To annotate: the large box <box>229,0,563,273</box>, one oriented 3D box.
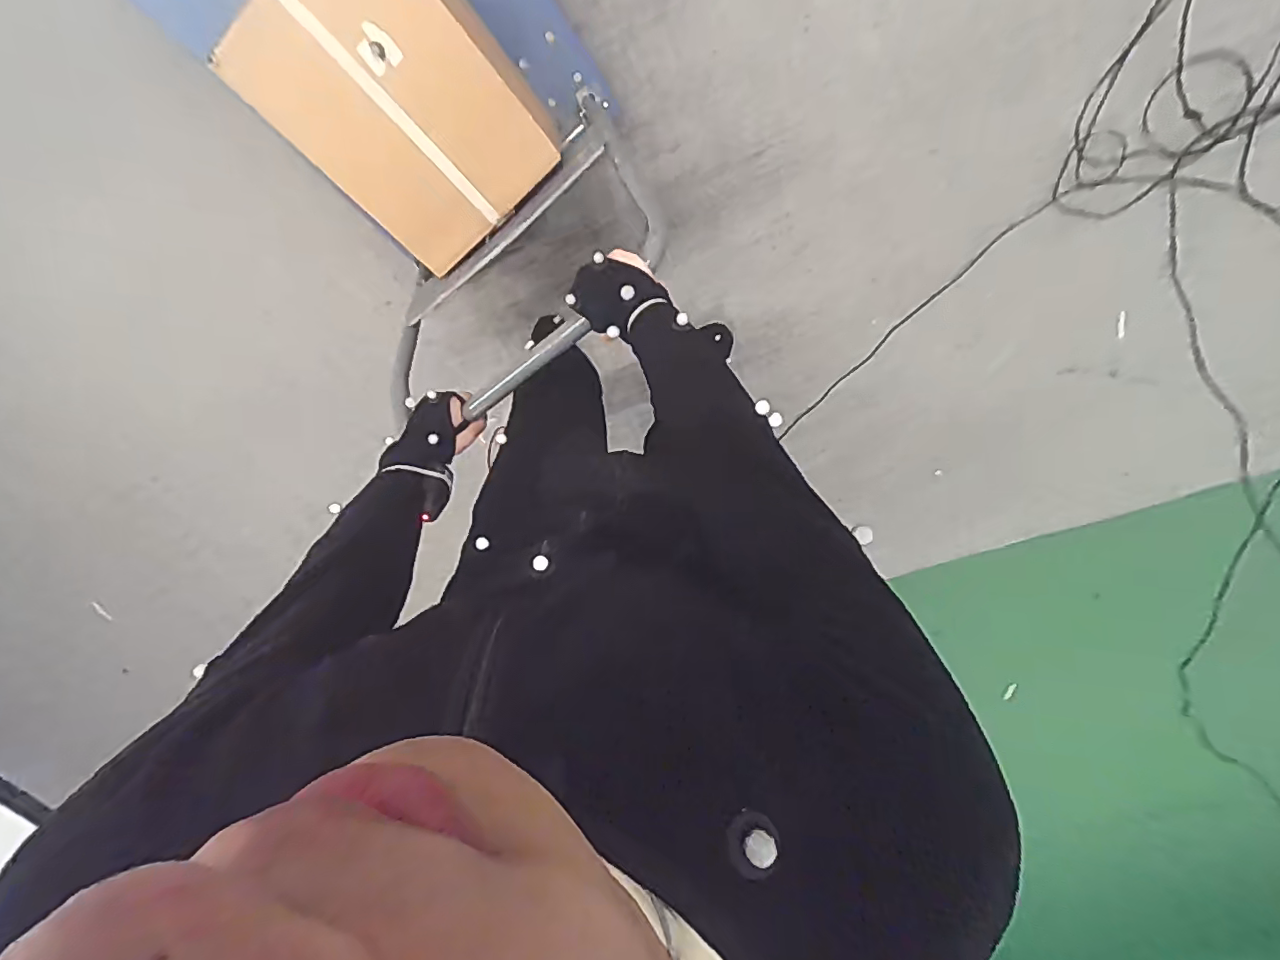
[{"bbox_3d":[-0.382,-0.668,0.965,0.320,0.320,0.408,-34,127,20],"label":"large box"}]
